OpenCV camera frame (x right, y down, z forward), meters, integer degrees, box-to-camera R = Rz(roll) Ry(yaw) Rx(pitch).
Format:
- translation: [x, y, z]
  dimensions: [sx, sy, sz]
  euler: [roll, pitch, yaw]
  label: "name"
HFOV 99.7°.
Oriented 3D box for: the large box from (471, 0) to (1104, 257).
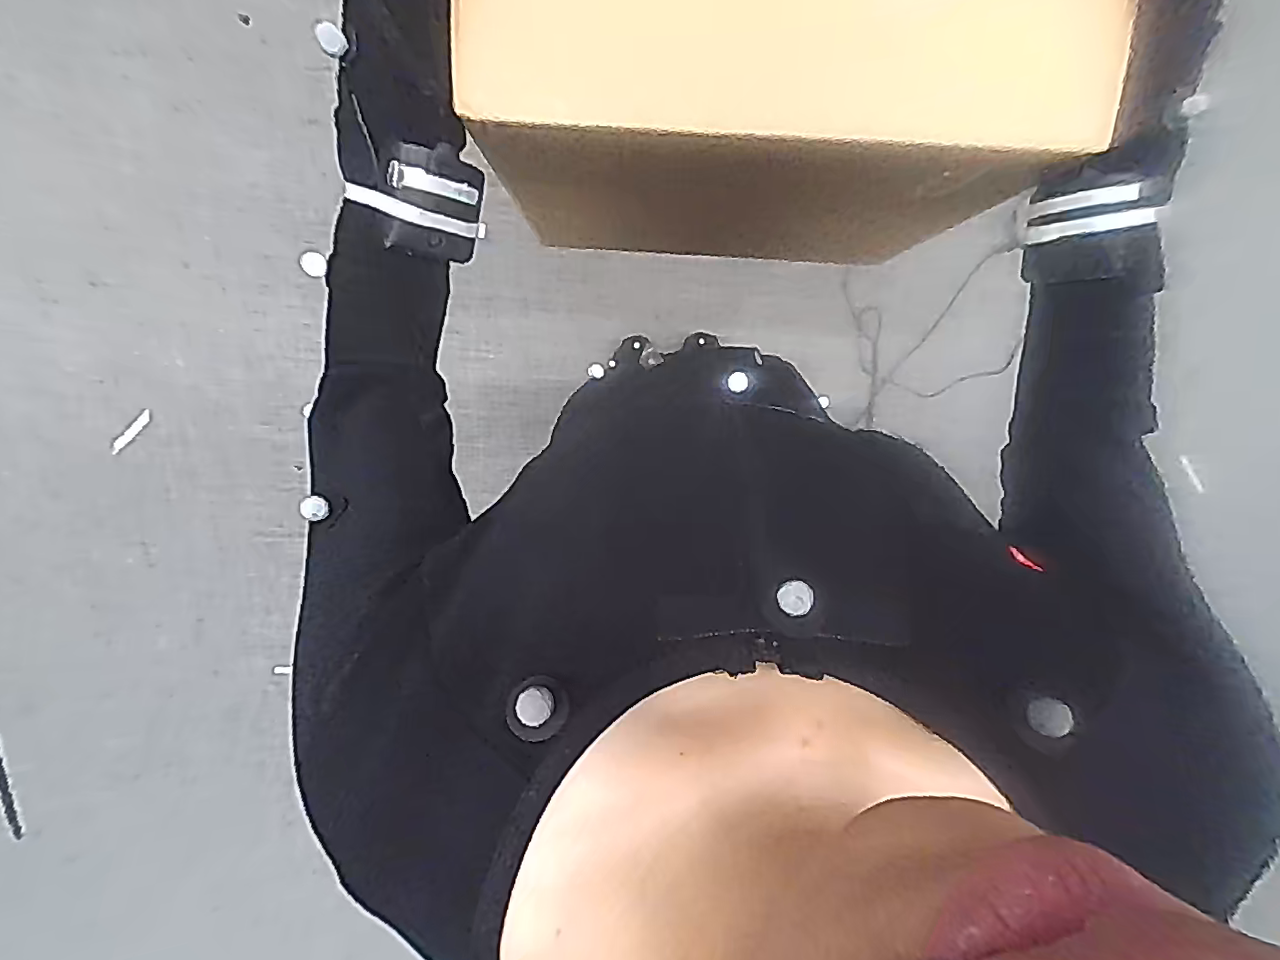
- translation: [0.090, -0.397, 0.472]
  dimensions: [0.408, 0.320, 0.320]
  euler: [2, 100, -2]
  label: "large box"
